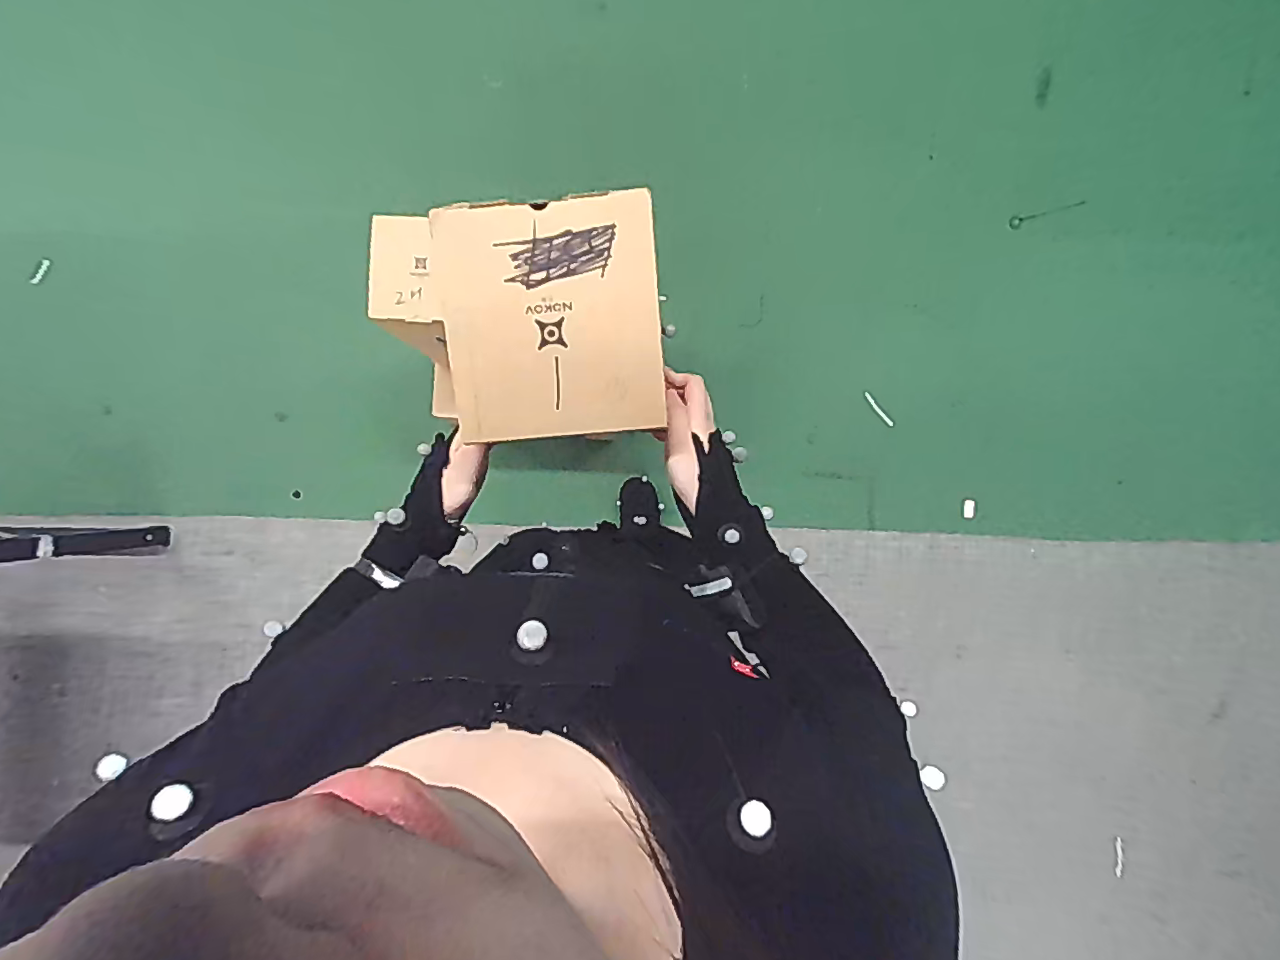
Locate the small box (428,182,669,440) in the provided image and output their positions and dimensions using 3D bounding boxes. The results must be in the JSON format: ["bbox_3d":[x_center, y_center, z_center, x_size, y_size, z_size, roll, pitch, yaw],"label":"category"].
[{"bbox_3d":[-0.064,-0.135,0.476,0.168,0.176,0.179,-4,101,2],"label":"small box"}]

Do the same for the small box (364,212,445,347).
[{"bbox_3d":[-0.363,-0.345,0.959,0.168,0.176,0.179,2,89,0],"label":"small box"}]
